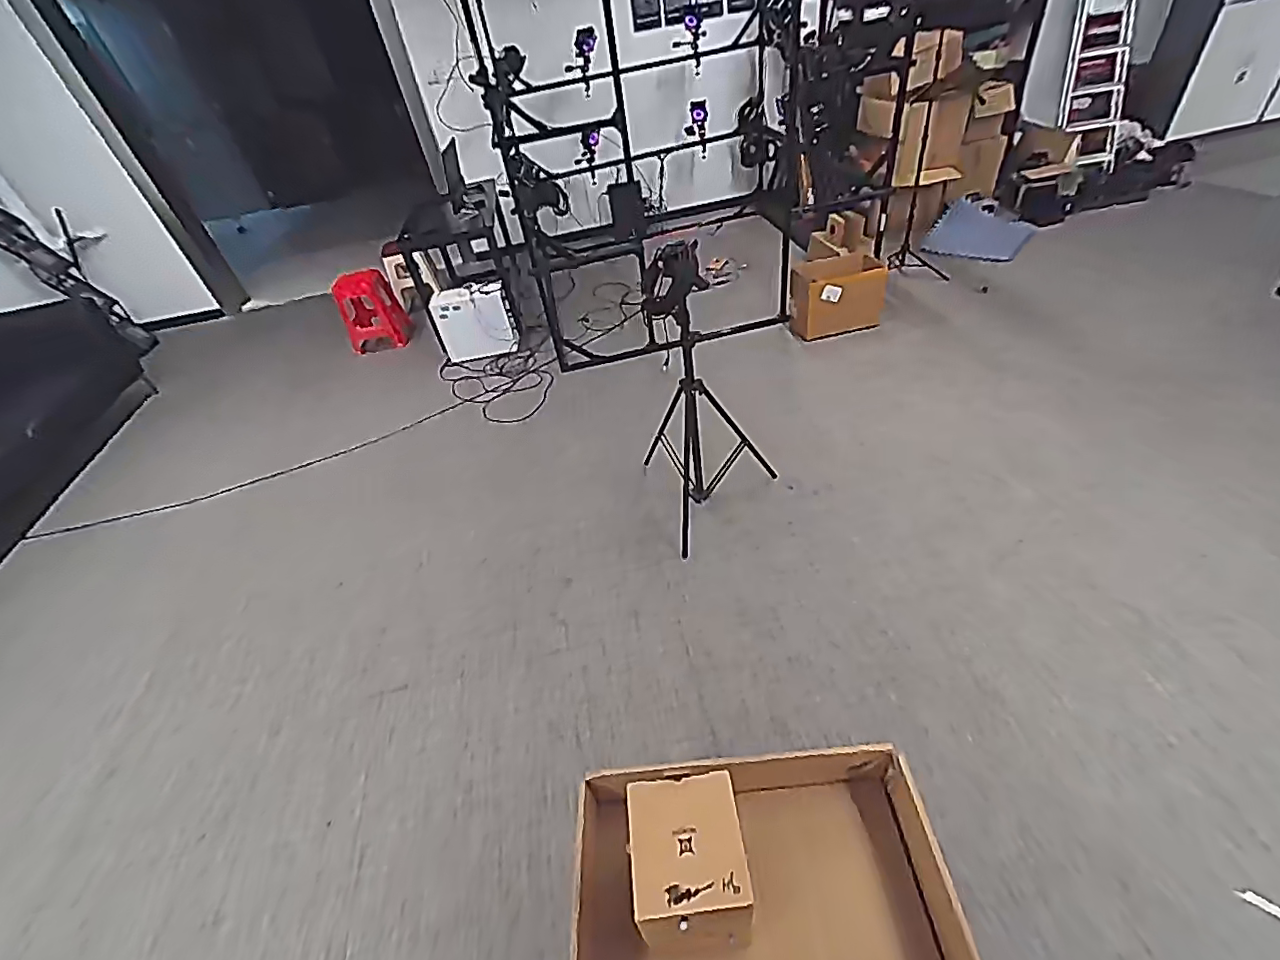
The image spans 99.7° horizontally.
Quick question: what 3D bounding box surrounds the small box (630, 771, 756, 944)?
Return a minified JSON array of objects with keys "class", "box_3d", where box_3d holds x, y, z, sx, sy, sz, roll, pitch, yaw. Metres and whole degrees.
[{"class":"small box","box_3d":[0.078,0.584,0.840,0.168,0.176,0.179,-8,41,1]}]
